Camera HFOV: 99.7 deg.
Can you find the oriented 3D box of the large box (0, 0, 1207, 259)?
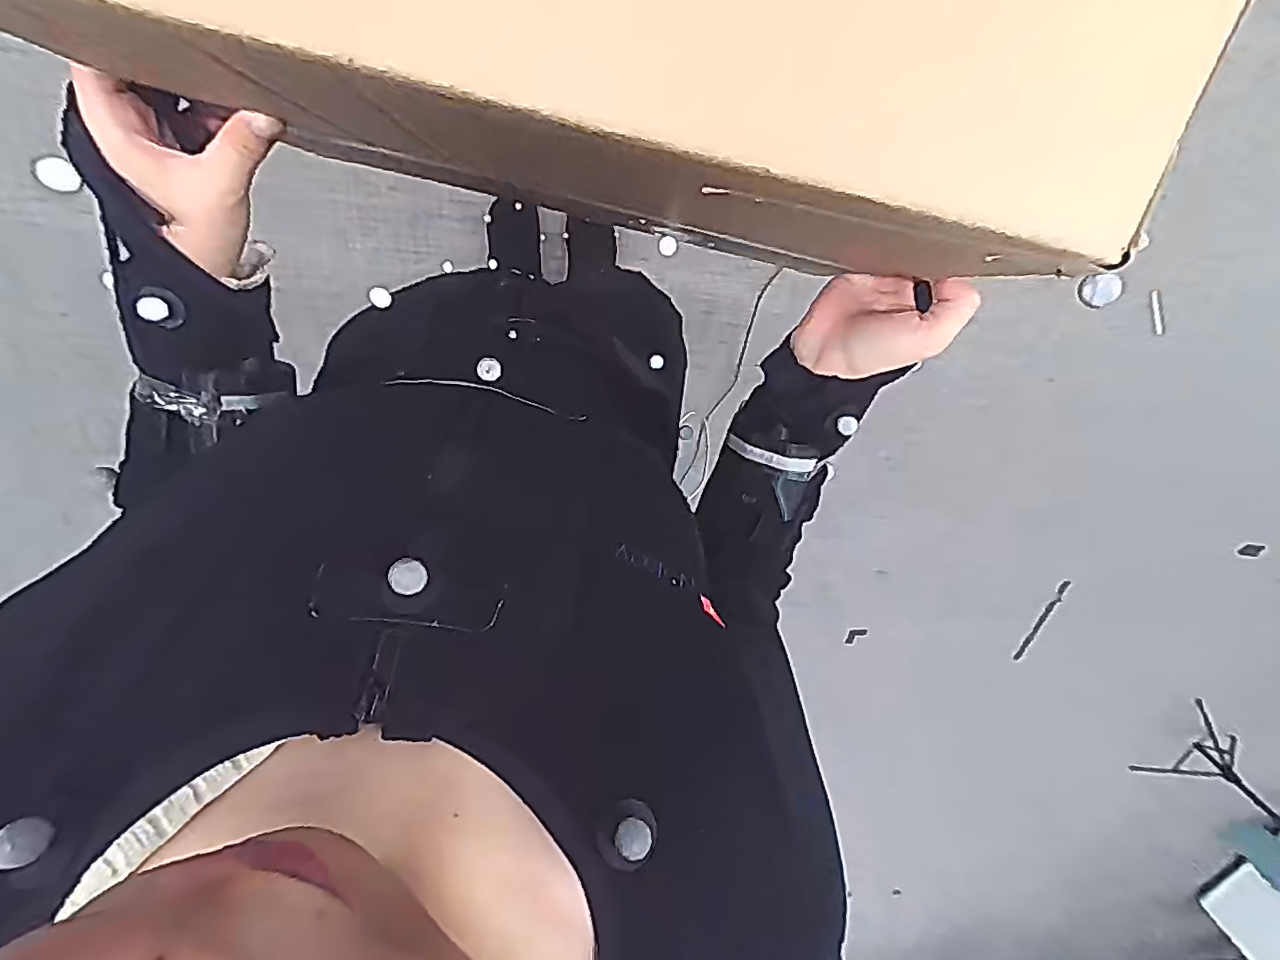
[{"bbox_3d":[-0.023,-0.305,0.240,0.408,0.320,0.320,9,112,-5],"label":"large box"}]
